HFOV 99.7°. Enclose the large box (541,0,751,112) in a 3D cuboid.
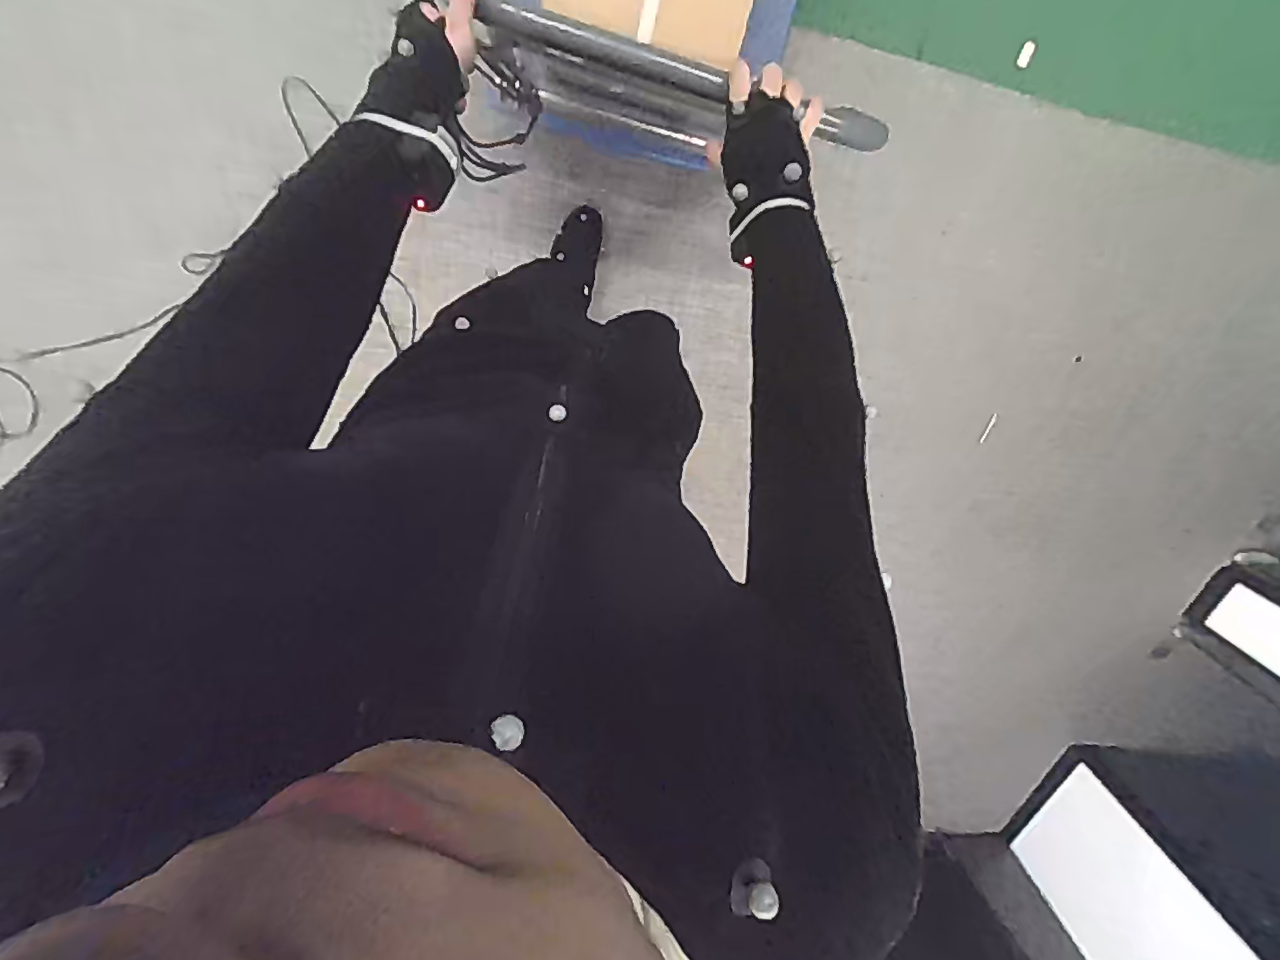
[{"bbox_3d":[0.024,-0.902,0.898,0.320,0.320,0.408,9,116,-14],"label":"large box"}]
